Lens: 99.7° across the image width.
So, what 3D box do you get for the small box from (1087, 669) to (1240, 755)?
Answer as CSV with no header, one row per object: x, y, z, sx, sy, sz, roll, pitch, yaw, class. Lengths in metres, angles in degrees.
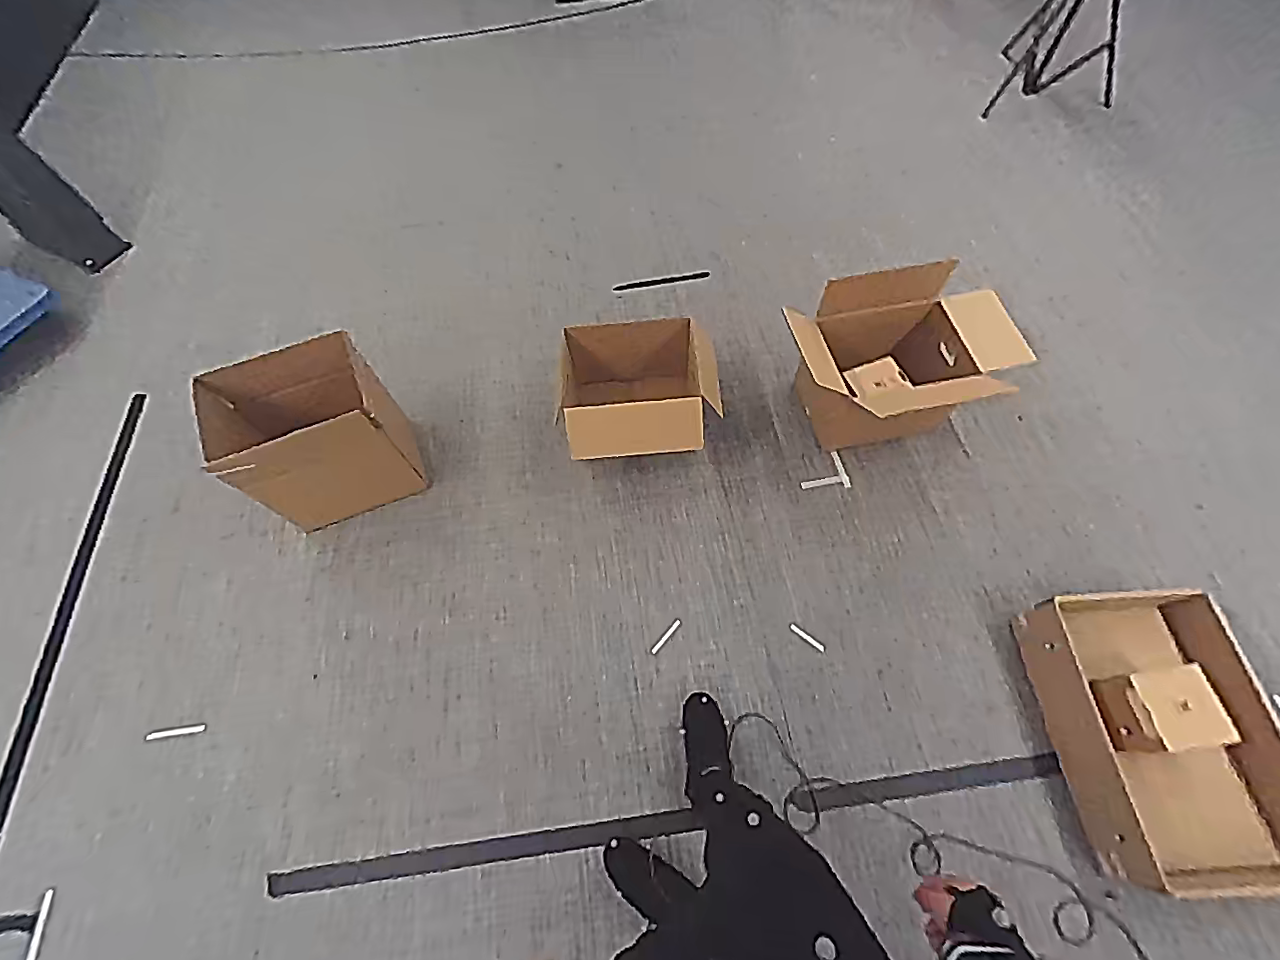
1.221,0.555,1.285,0.179,0.176,0.168,-8,64,-2,small box
